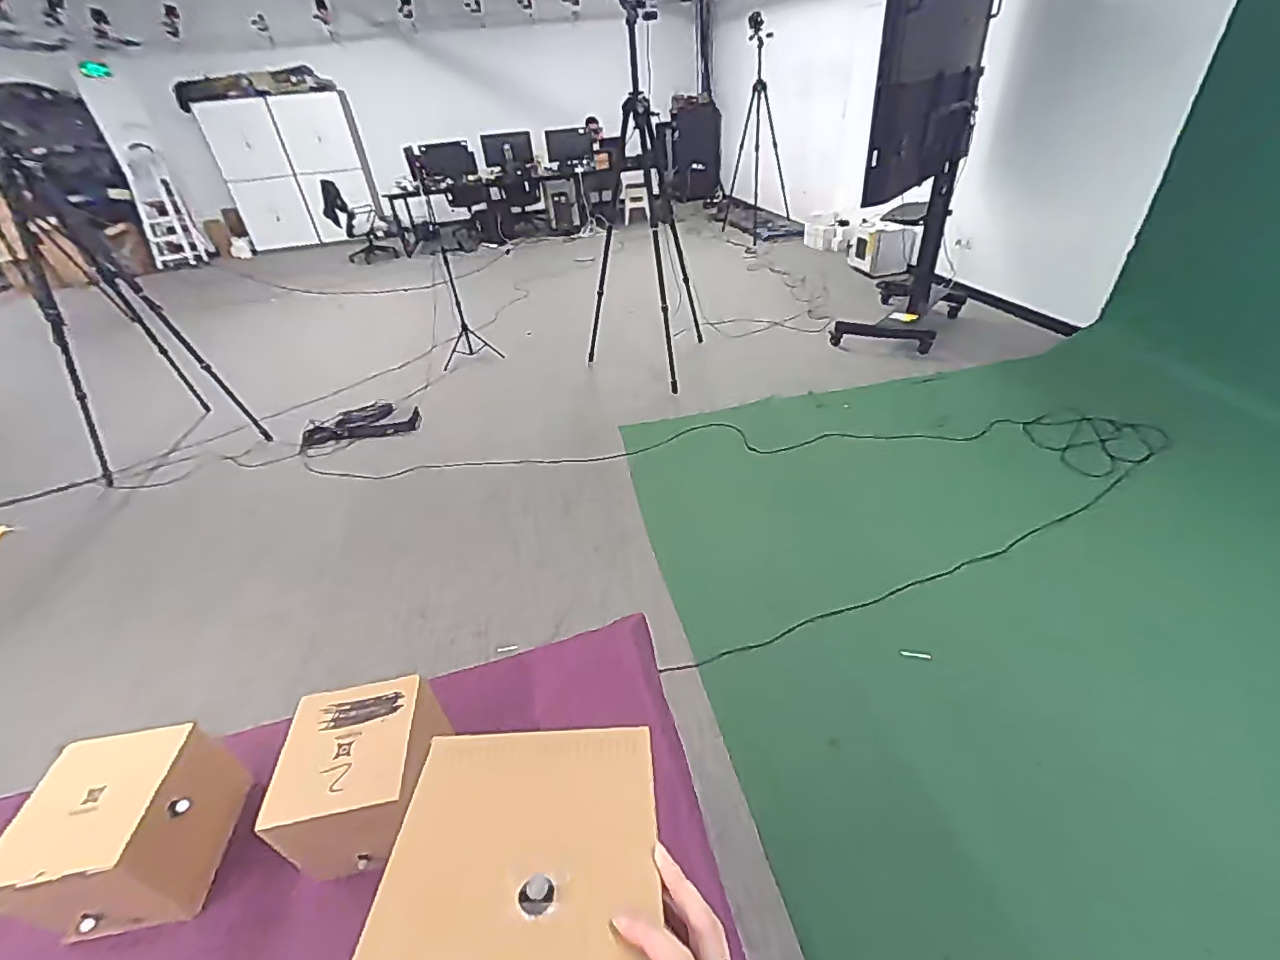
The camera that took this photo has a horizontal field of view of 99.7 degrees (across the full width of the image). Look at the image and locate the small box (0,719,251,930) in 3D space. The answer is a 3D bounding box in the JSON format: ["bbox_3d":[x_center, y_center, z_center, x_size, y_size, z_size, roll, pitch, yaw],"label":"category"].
[{"bbox_3d":[-0.666,0.455,0.720,0.168,0.176,0.179,-9,37,-3],"label":"small box"}]

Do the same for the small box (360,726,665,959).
[{"bbox_3d":[-0.075,0.306,0.400,0.179,0.168,0.176,-2,23,-1],"label":"small box"}]
